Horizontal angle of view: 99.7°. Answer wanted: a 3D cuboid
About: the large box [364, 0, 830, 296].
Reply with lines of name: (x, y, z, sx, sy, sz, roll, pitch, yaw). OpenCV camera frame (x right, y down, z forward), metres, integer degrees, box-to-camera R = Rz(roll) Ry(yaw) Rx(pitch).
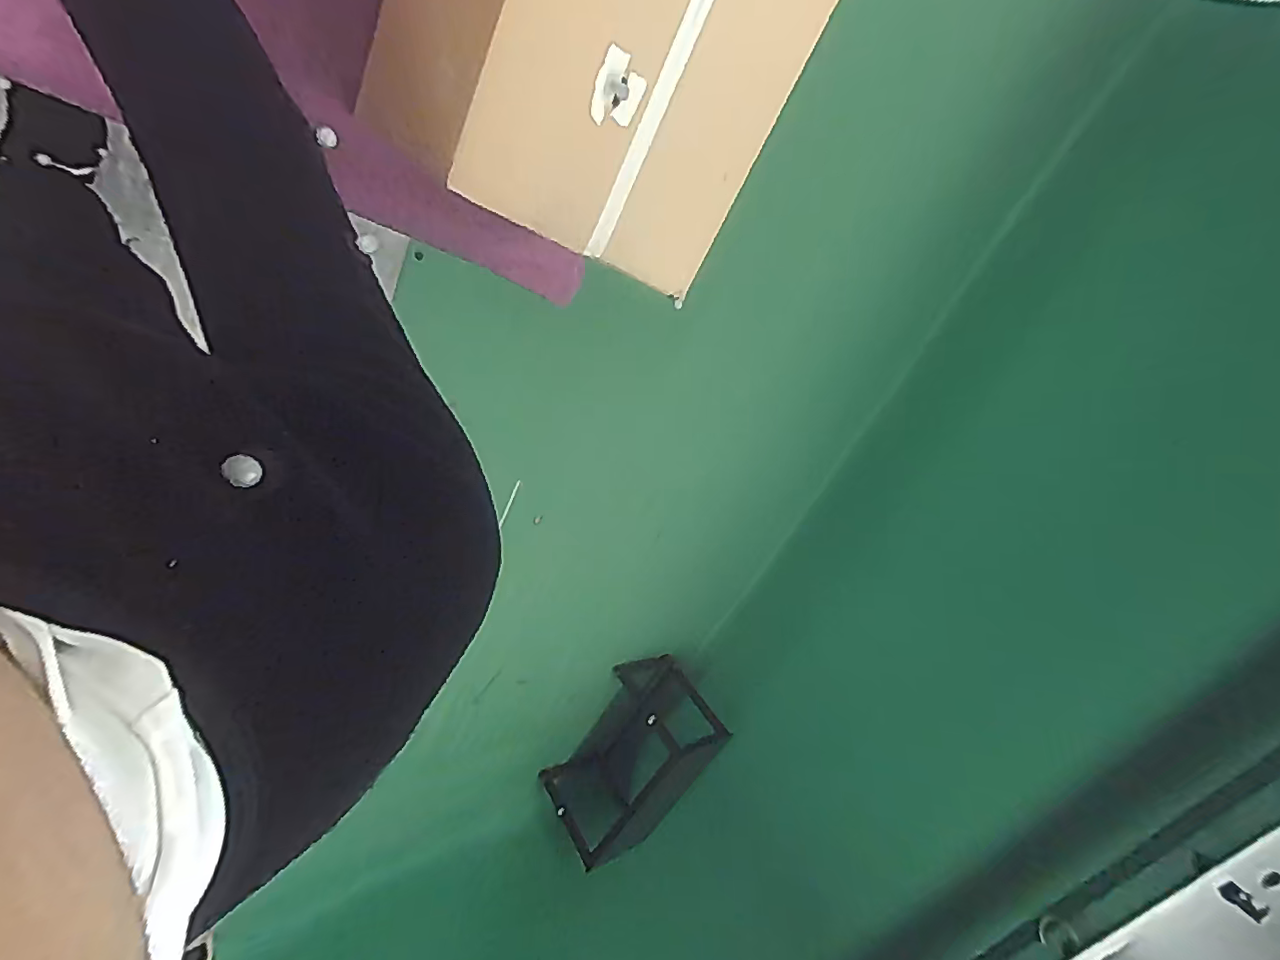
large box: (-0.050, -0.484, 0.580, 0.320, 0.320, 0.408, 5, 122, -46)
